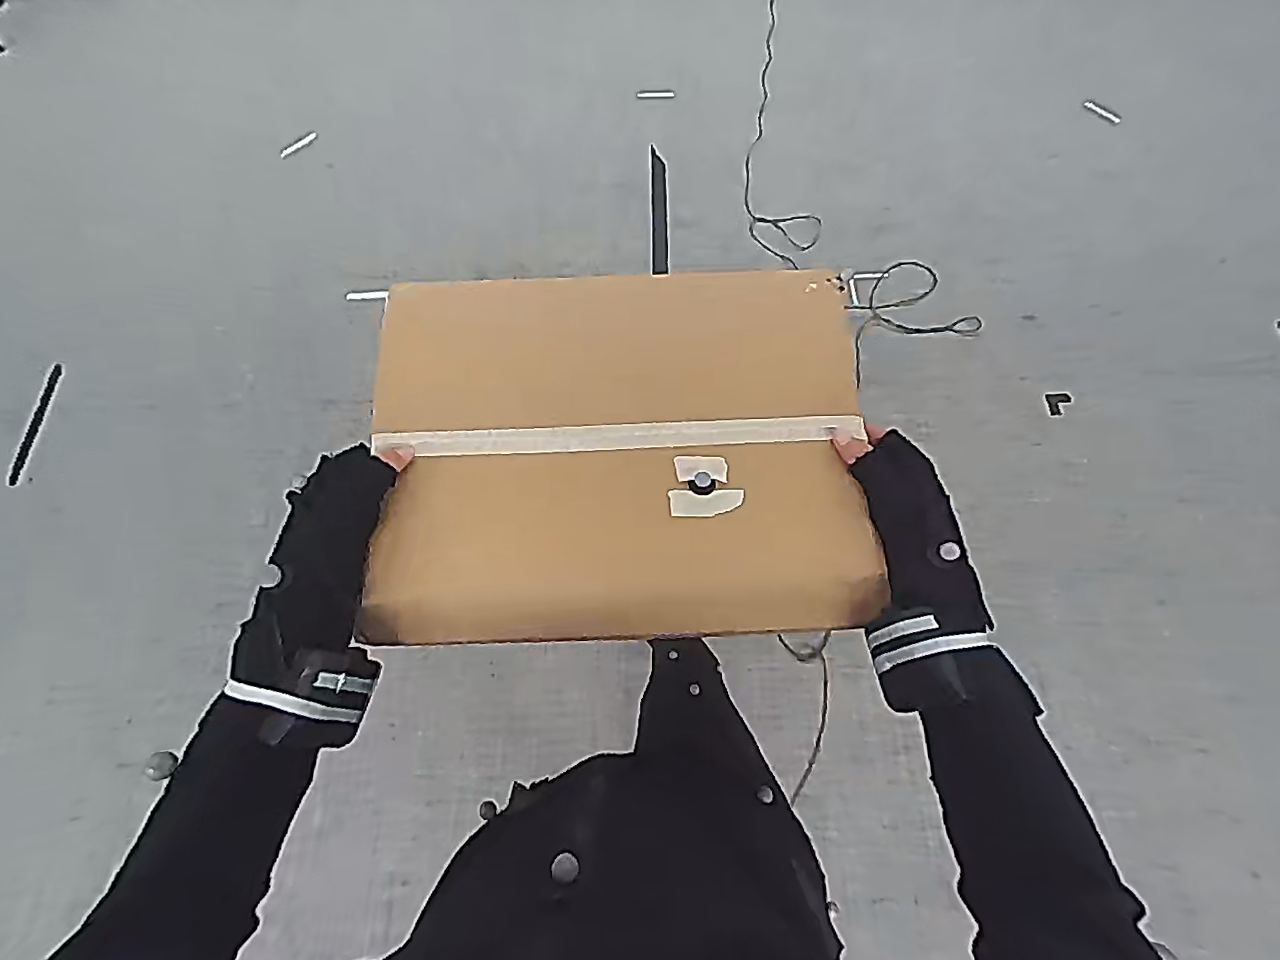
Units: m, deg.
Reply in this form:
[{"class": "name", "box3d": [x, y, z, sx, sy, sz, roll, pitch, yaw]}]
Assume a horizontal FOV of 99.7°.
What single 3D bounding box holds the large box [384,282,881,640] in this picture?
[{"class": "large box", "box3d": [-0.013, 0.009, 0.612, 0.408, 0.320, 0.320, -2, 73, 0]}]
